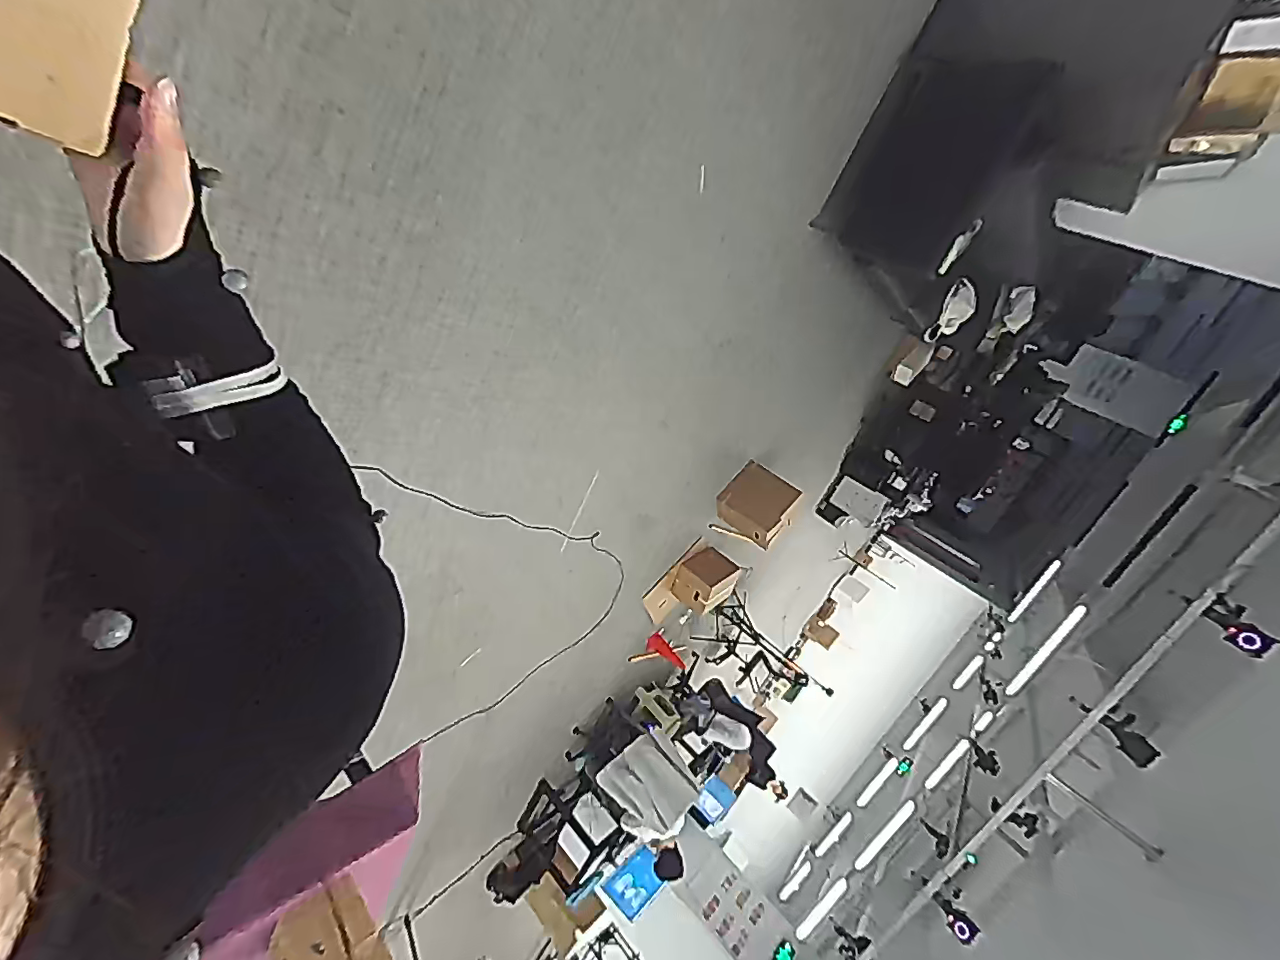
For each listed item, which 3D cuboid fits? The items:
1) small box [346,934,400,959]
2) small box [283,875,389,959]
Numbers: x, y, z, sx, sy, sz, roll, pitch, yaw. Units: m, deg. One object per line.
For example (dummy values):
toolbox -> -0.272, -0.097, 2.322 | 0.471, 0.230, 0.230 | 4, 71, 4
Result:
small box -> -0.683, 1.284, 1.327 | 0.168, 0.176, 0.179 | 0, 121, -54
small box -> -0.793, 1.190, 1.402 | 0.179, 0.176, 0.168 | -1, 123, -54
